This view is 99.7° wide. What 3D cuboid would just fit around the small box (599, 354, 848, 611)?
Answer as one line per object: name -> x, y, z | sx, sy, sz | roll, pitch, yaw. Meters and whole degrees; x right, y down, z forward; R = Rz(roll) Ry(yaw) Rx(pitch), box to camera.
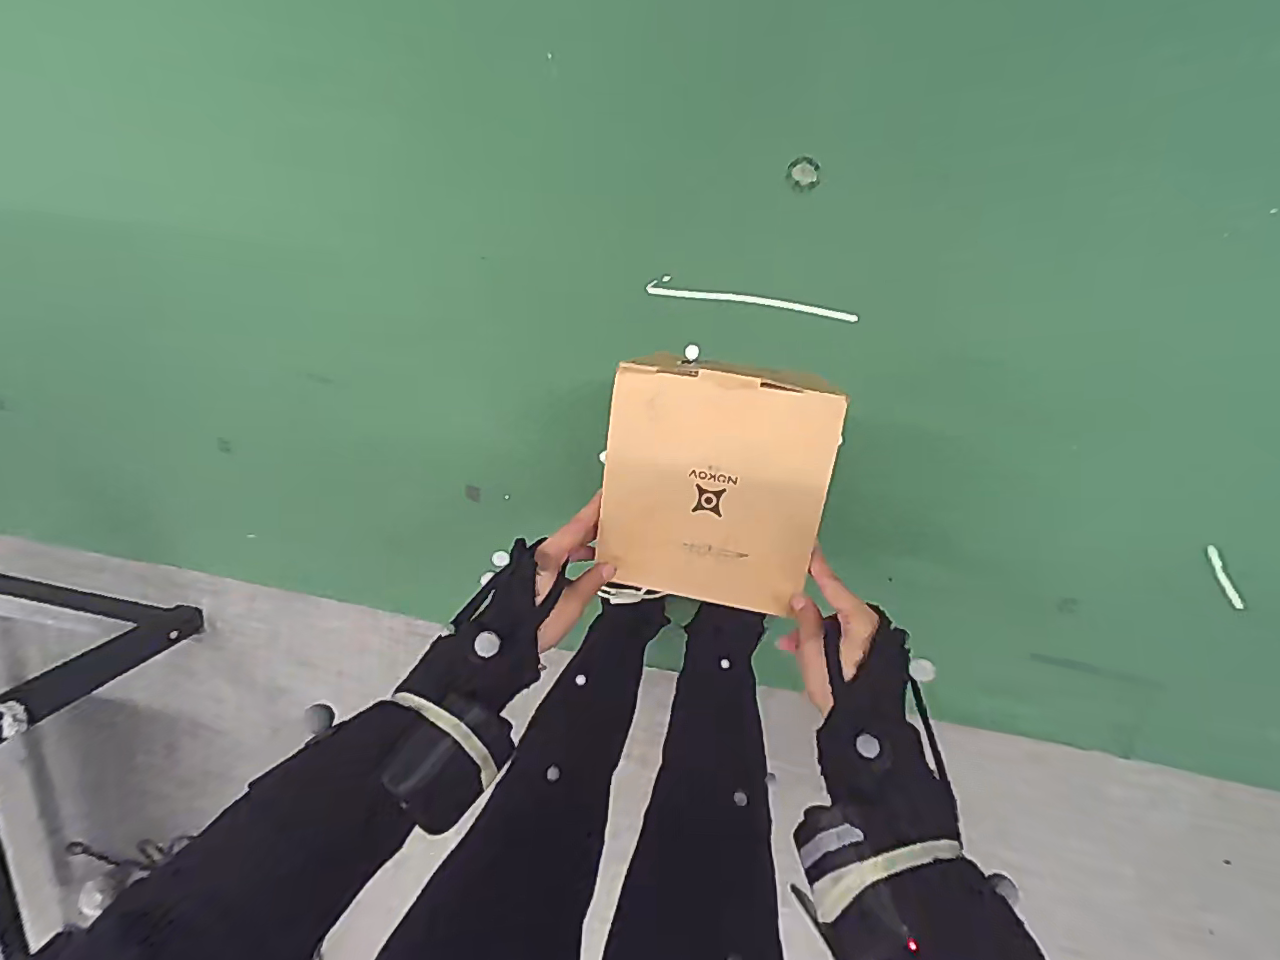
small box -> 0.071, -0.014, 0.486 | 0.168, 0.176, 0.179 | 10, 108, 9
